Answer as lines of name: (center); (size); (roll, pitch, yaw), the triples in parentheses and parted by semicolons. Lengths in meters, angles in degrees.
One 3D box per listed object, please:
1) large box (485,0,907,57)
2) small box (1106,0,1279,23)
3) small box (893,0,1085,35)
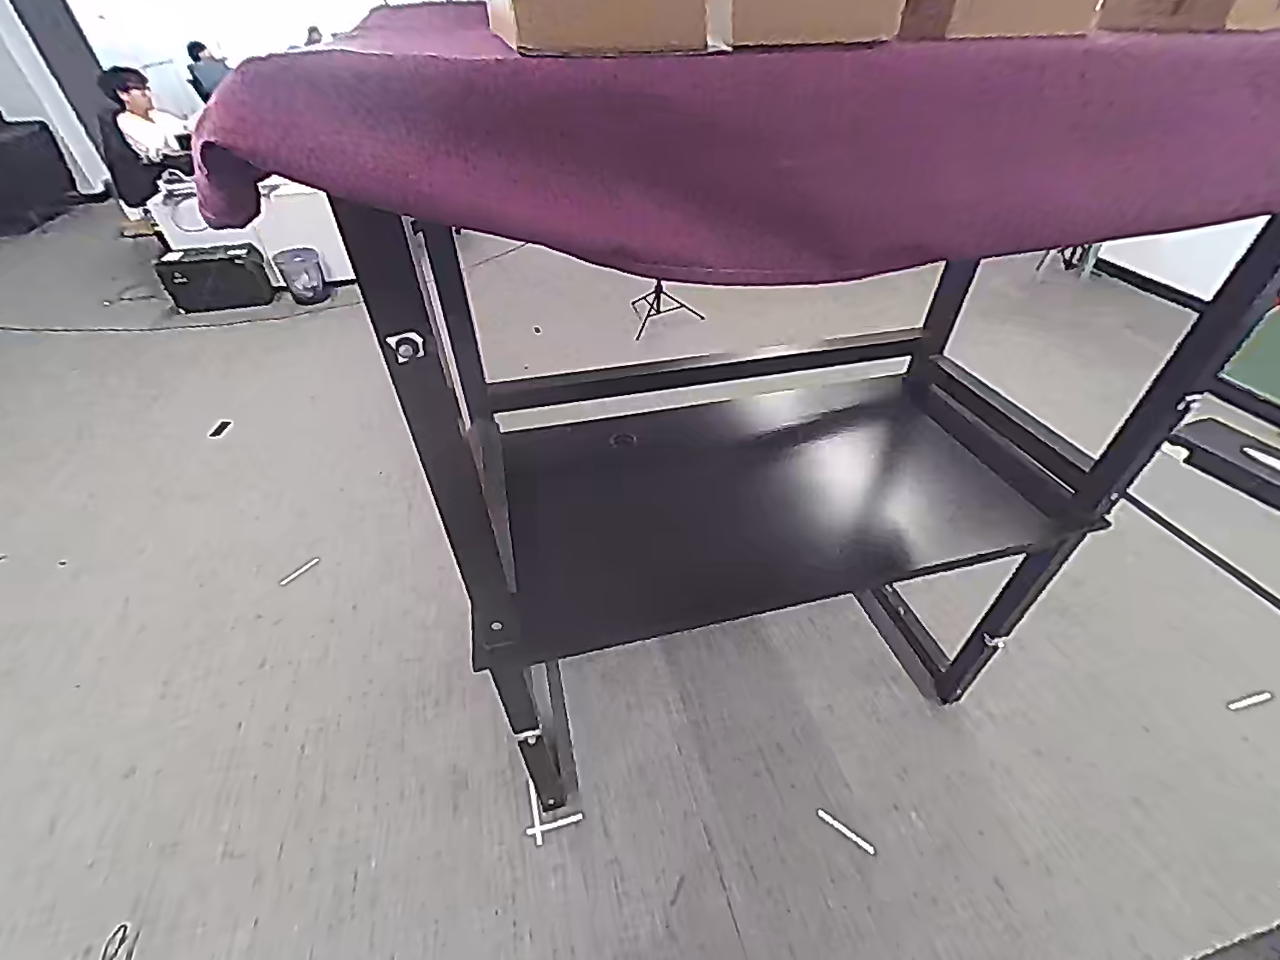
large box: (0.010, -0.567, 0.455); (0.320, 0.320, 0.408); (-10, 41, -11)
small box: (0.681, -0.615, 0.590); (0.179, 0.176, 0.168); (-9, 41, -9)
small box: (0.368, -0.576, 0.558); (0.179, 0.176, 0.168); (-9, 41, -8)
